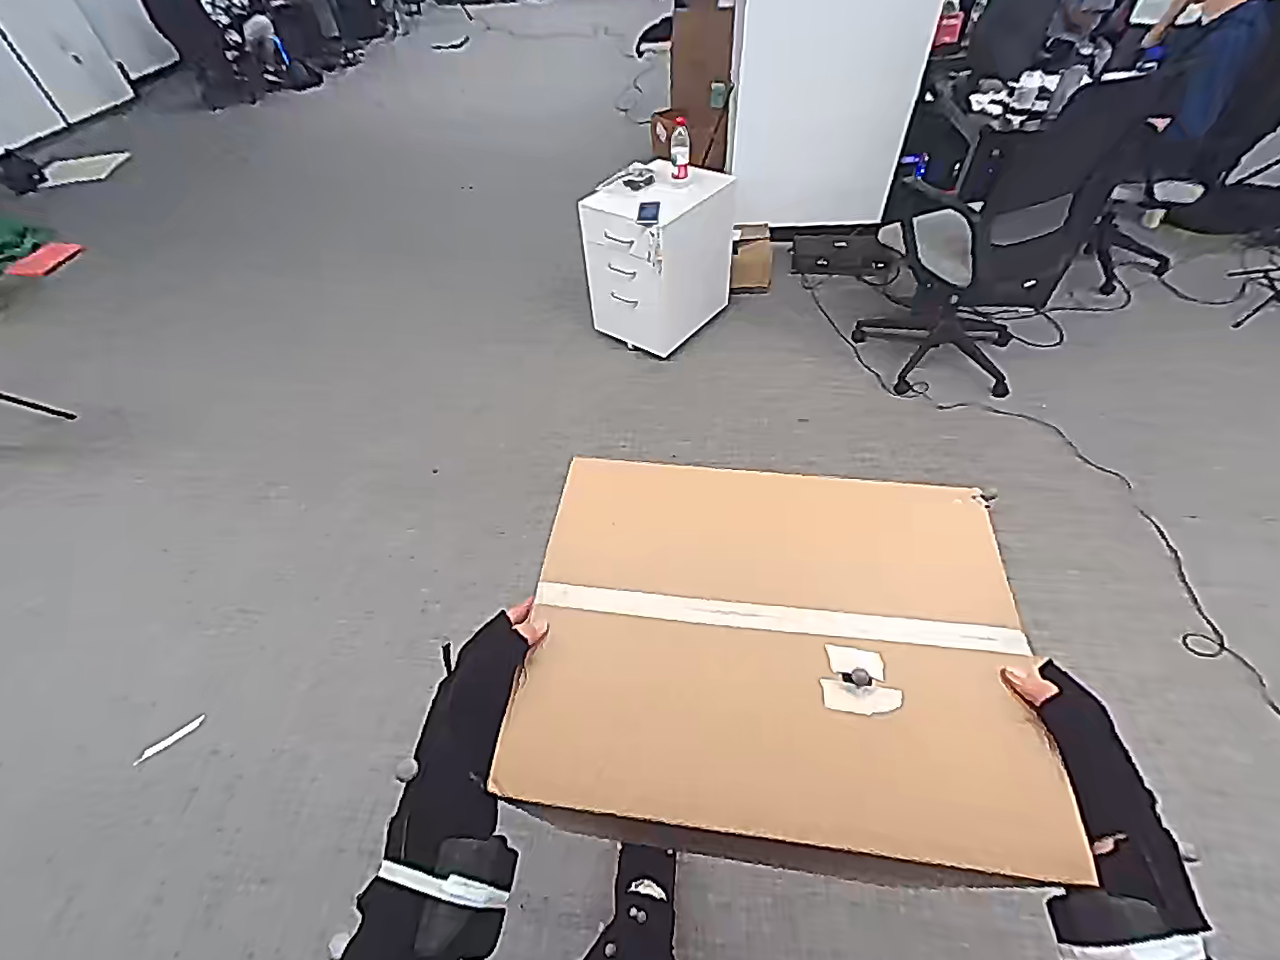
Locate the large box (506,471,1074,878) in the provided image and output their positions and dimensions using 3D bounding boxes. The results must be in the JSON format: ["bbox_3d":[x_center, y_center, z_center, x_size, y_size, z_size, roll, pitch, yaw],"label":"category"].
[{"bbox_3d":[0.116,0.213,0.585,0.408,0.320,0.320,5,54,6],"label":"large box"}]
